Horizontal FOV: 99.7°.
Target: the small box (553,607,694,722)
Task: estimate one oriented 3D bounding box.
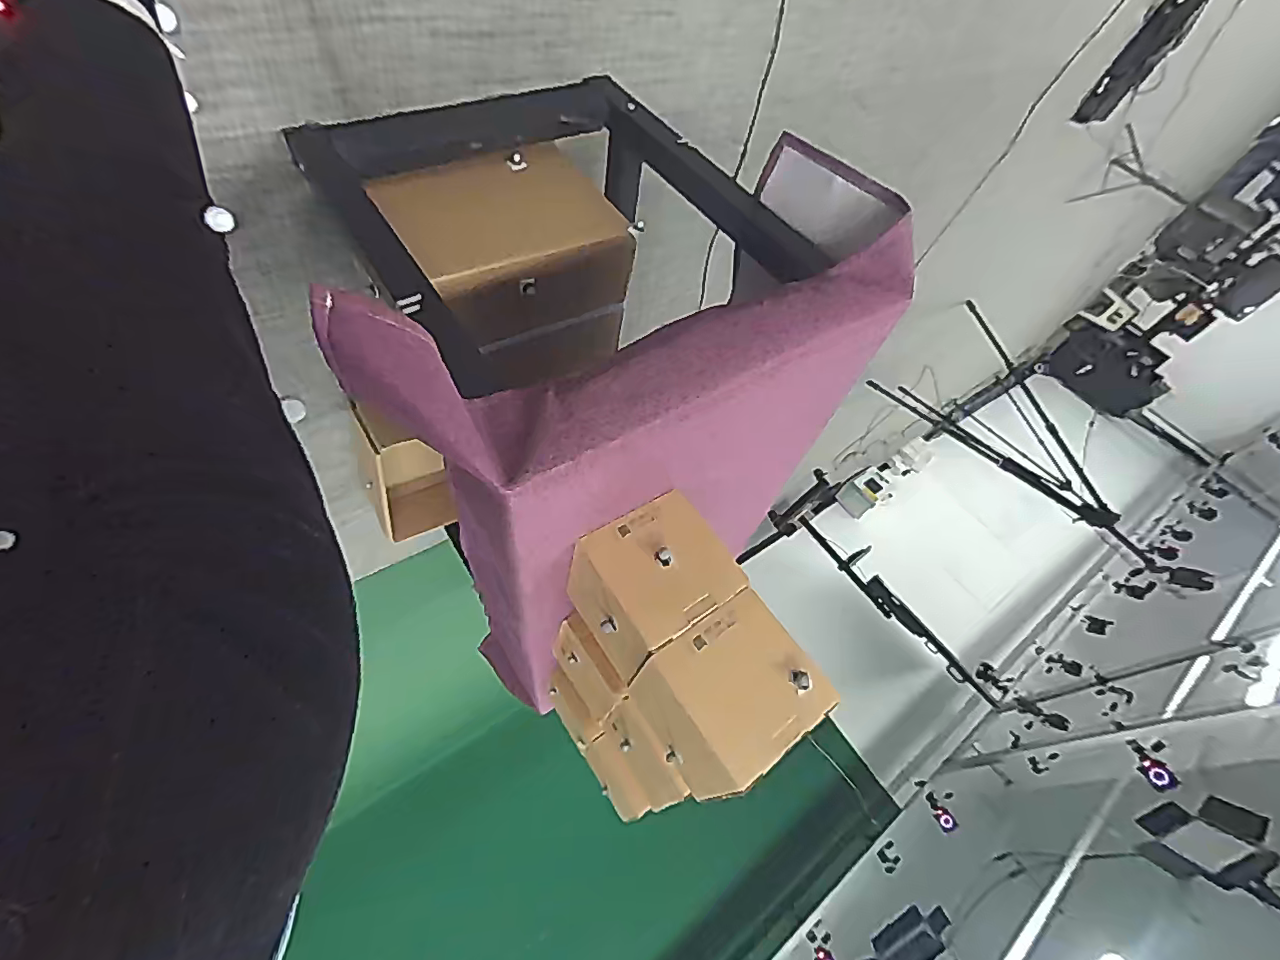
[{"bbox_3d":[-0.036,0.307,1.000,0.179,0.176,0.168,-23,154,-30],"label":"small box"}]

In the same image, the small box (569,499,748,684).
[{"bbox_3d":[0.014,0.148,0.754,0.168,0.176,0.179,-25,155,-26],"label":"small box"}]

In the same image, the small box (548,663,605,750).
[{"bbox_3d":[-0.100,0.489,1.257,0.179,0.176,0.168,-27,156,-27],"label":"small box"}]

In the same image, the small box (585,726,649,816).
[{"bbox_3d":[-0.006,0.610,1.201,0.168,0.176,0.179,-27,155,-28],"label":"small box"}]

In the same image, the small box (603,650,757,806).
[{"bbox_3d":[0.063,0.427,0.944,0.179,0.176,0.168,-23,153,-32],"label":"small box"}]
